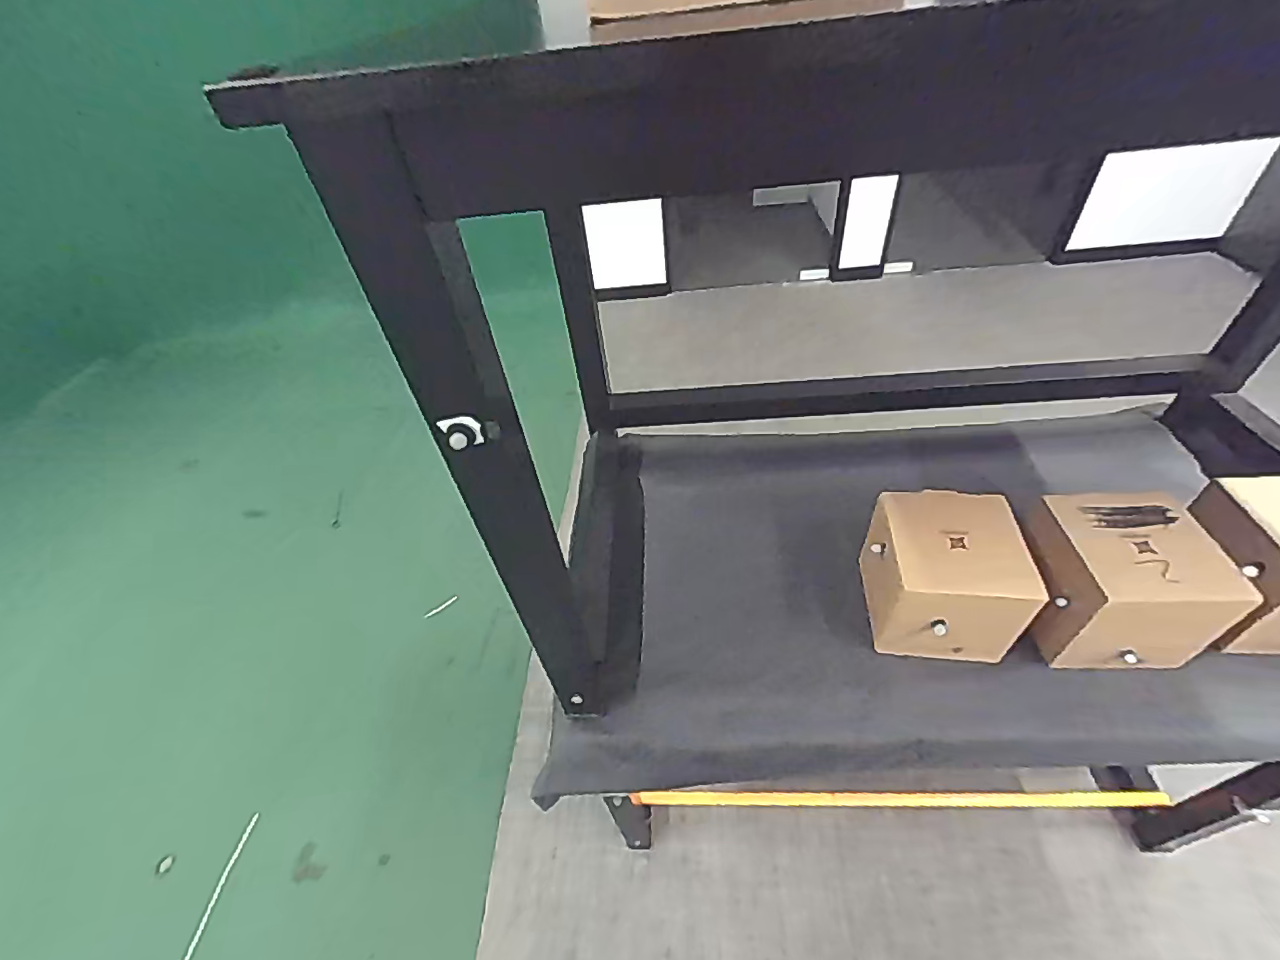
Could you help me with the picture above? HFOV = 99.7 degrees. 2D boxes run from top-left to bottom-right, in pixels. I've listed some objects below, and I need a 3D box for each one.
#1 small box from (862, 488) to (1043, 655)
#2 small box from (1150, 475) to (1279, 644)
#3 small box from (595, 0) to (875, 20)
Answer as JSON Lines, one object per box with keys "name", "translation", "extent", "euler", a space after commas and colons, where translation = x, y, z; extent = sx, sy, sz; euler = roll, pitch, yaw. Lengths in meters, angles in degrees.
{"name": "small box", "translation": [0.428, 0.132, 0.777], "extent": [0.168, 0.176, 0.179], "euler": [2, 45, 10]}
{"name": "small box", "translation": [0.866, 0.112, 0.731], "extent": [0.168, 0.176, 0.179], "euler": [0, 45, 7]}
{"name": "small box", "translation": [0.053, -0.361, 0.281], "extent": [0.168, 0.176, 0.179], "euler": [-2, 46, 6]}
